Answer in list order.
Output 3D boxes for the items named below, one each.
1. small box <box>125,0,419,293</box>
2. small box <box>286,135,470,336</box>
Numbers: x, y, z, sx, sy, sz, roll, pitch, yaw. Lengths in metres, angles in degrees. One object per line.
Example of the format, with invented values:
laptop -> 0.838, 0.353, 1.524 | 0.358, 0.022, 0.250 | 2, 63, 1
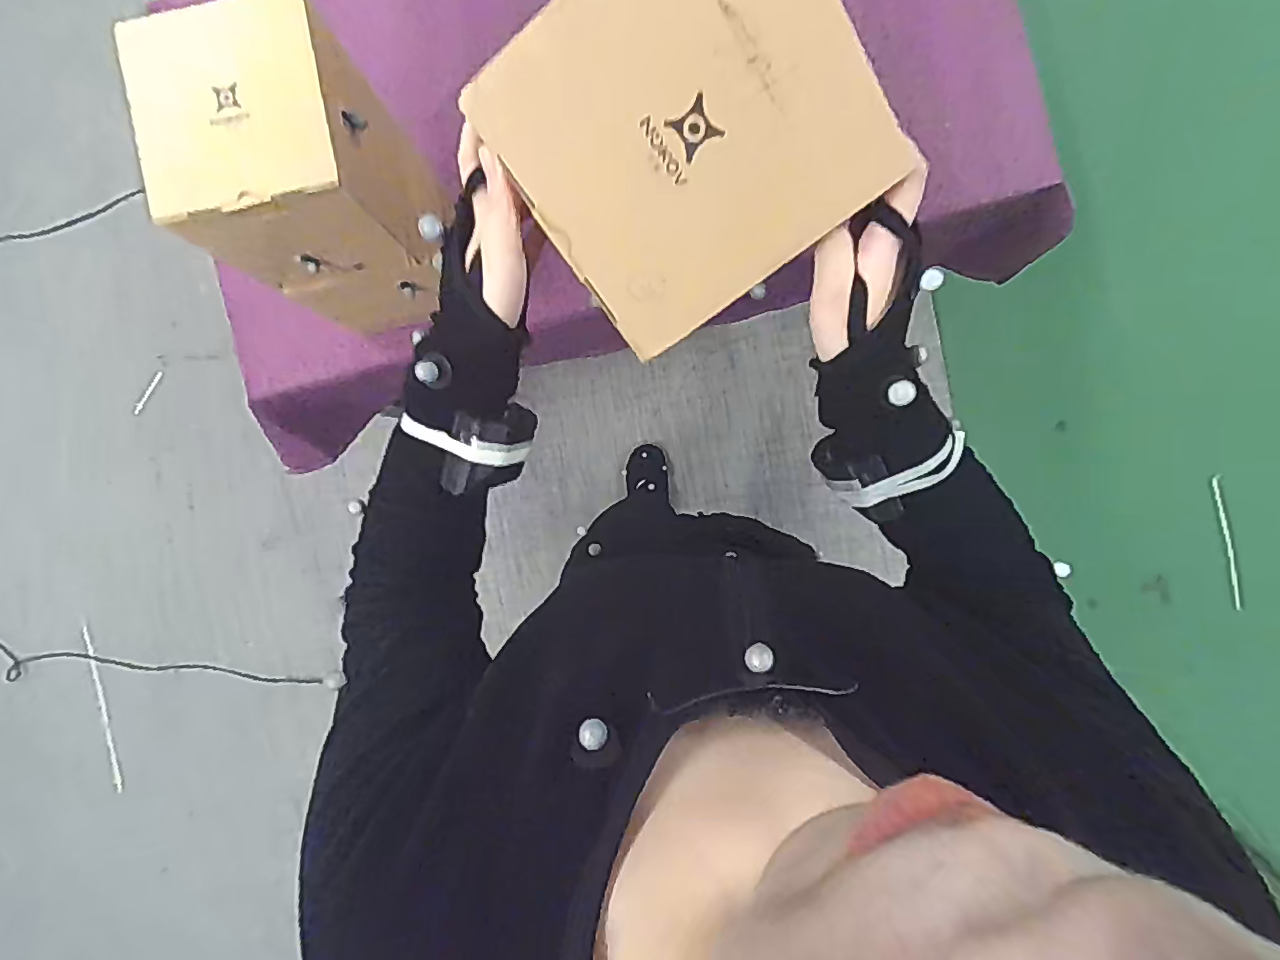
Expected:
small box -> -0.349, -0.314, 0.546 | 0.168, 0.176, 0.179 | -11, 90, 2
small box -> -0.338, -0.305, 0.708 | 0.179, 0.176, 0.168 | -12, 89, 2
